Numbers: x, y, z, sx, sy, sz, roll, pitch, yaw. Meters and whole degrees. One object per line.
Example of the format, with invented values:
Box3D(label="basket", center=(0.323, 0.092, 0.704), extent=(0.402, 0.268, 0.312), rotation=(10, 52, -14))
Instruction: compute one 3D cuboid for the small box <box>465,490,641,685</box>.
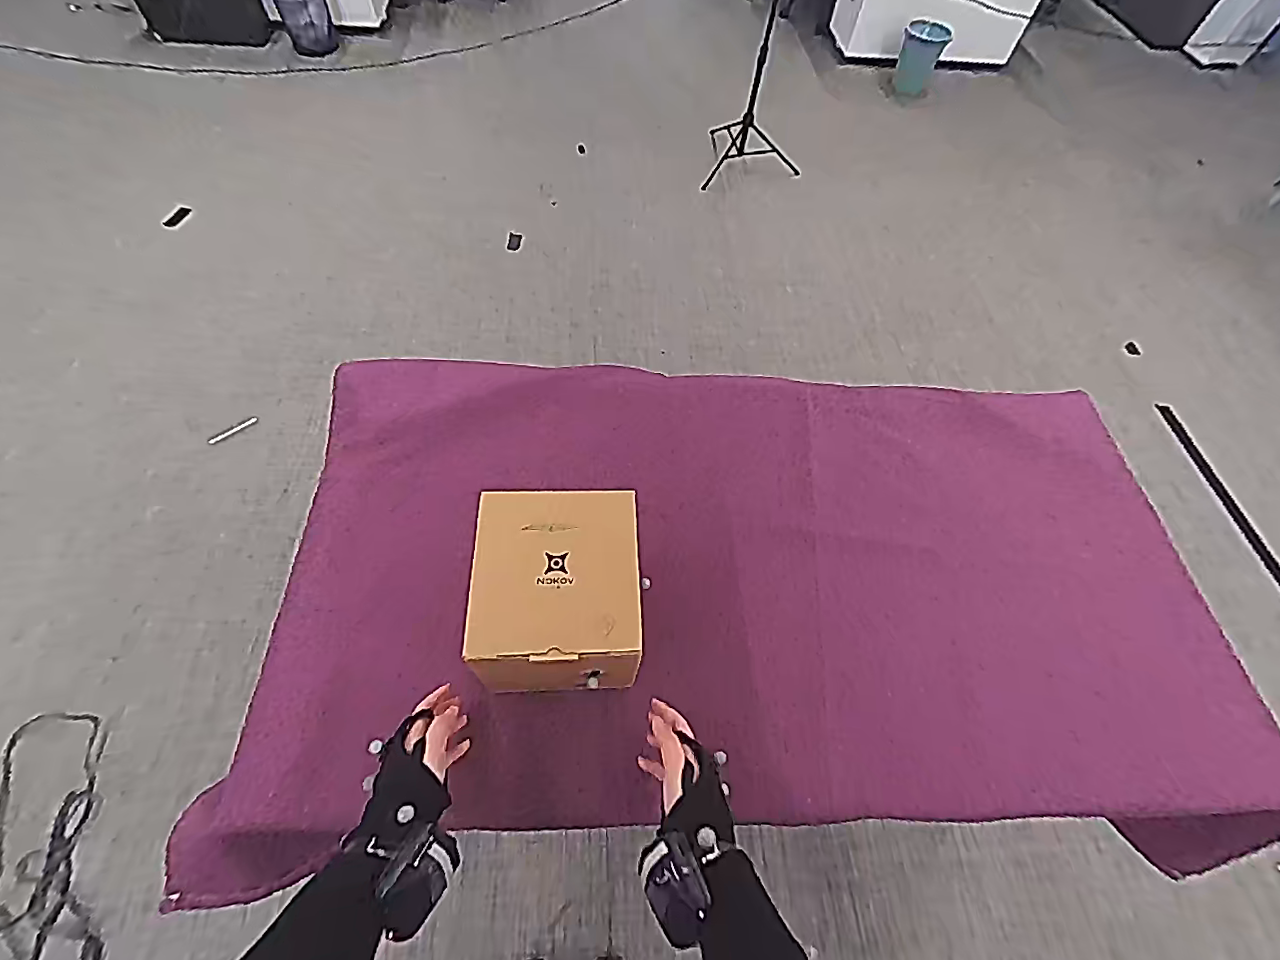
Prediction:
Box3D(label="small box", center=(-0.086, 0.127, 0.604), extent=(0.168, 0.176, 0.179), rotation=(1, 59, -5))
